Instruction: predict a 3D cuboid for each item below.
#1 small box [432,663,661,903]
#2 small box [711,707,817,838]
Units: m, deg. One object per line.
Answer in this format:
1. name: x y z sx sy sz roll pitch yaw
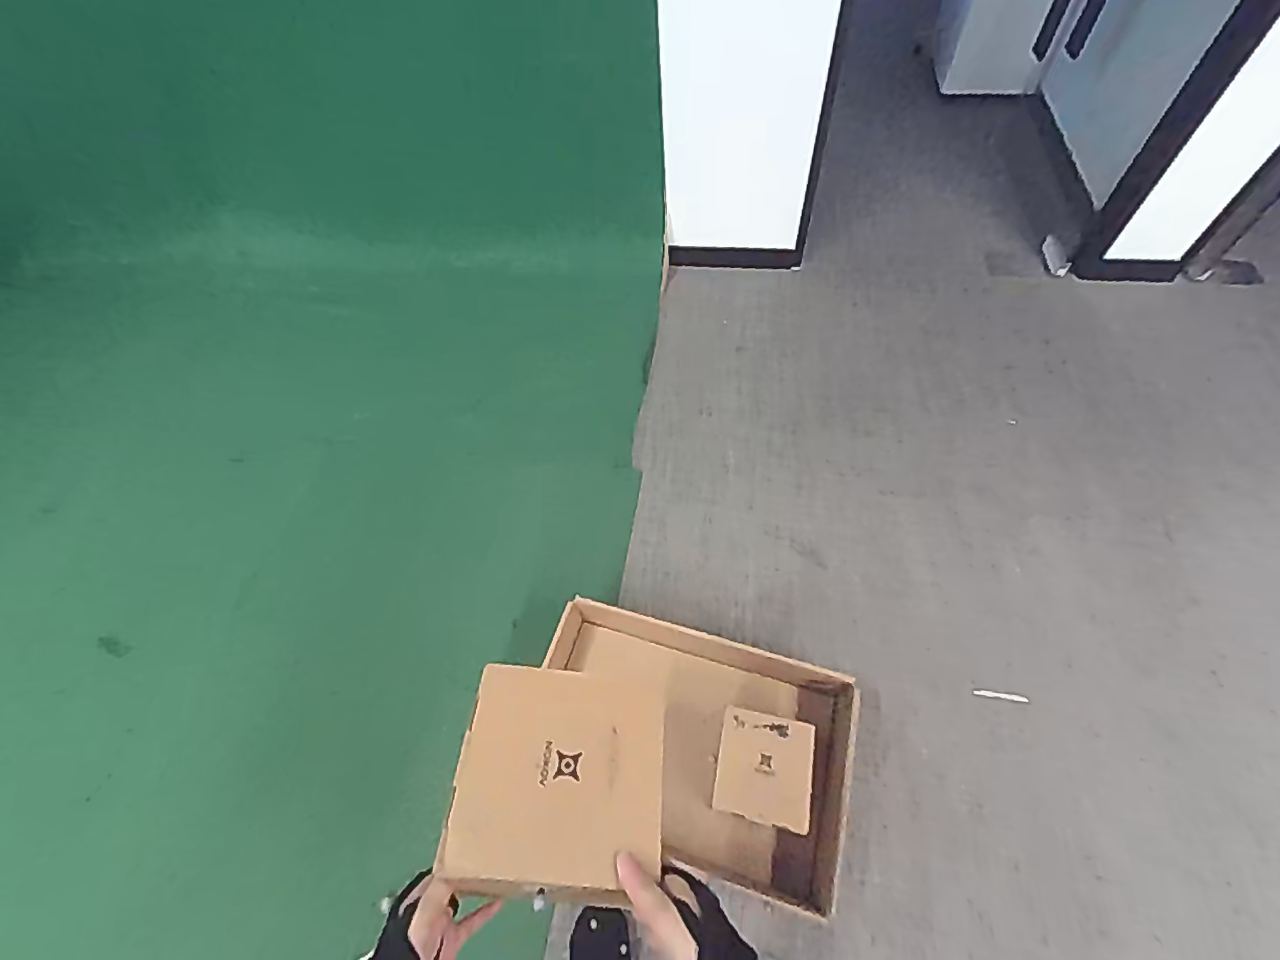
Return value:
1. small box: -0.079 0.301 0.532 0.179 0.176 0.168 7 48 -2
2. small box: 0.230 0.551 1.023 0.168 0.176 0.179 9 60 12
